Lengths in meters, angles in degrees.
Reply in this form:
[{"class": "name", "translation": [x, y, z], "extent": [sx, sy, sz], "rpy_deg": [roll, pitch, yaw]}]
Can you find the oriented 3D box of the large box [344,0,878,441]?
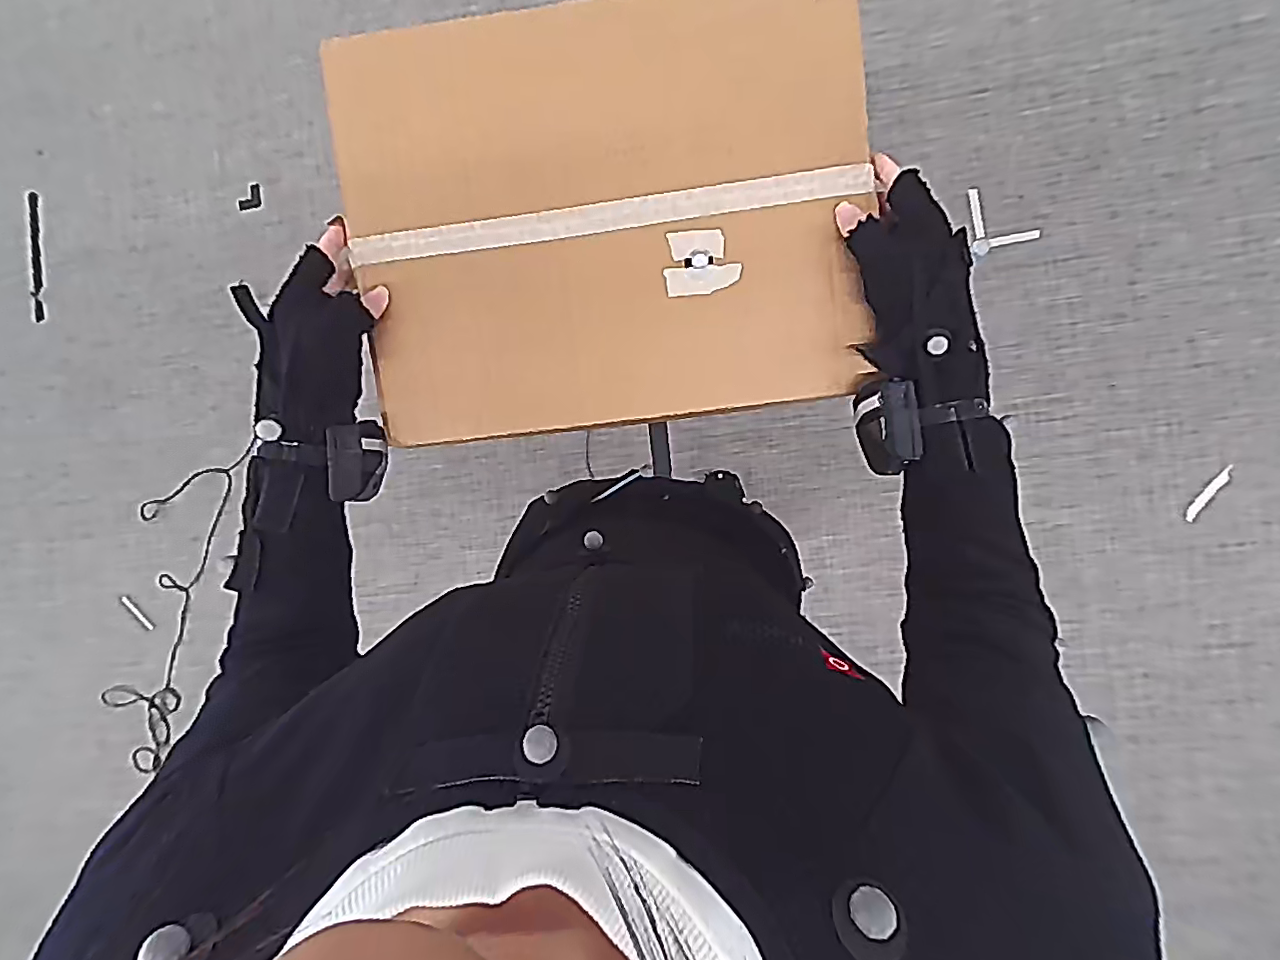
[{"class": "large box", "translation": [-0.018, -0.223, 0.581], "extent": [0.408, 0.320, 0.320], "rpy_deg": [-7, 96, 3]}]
